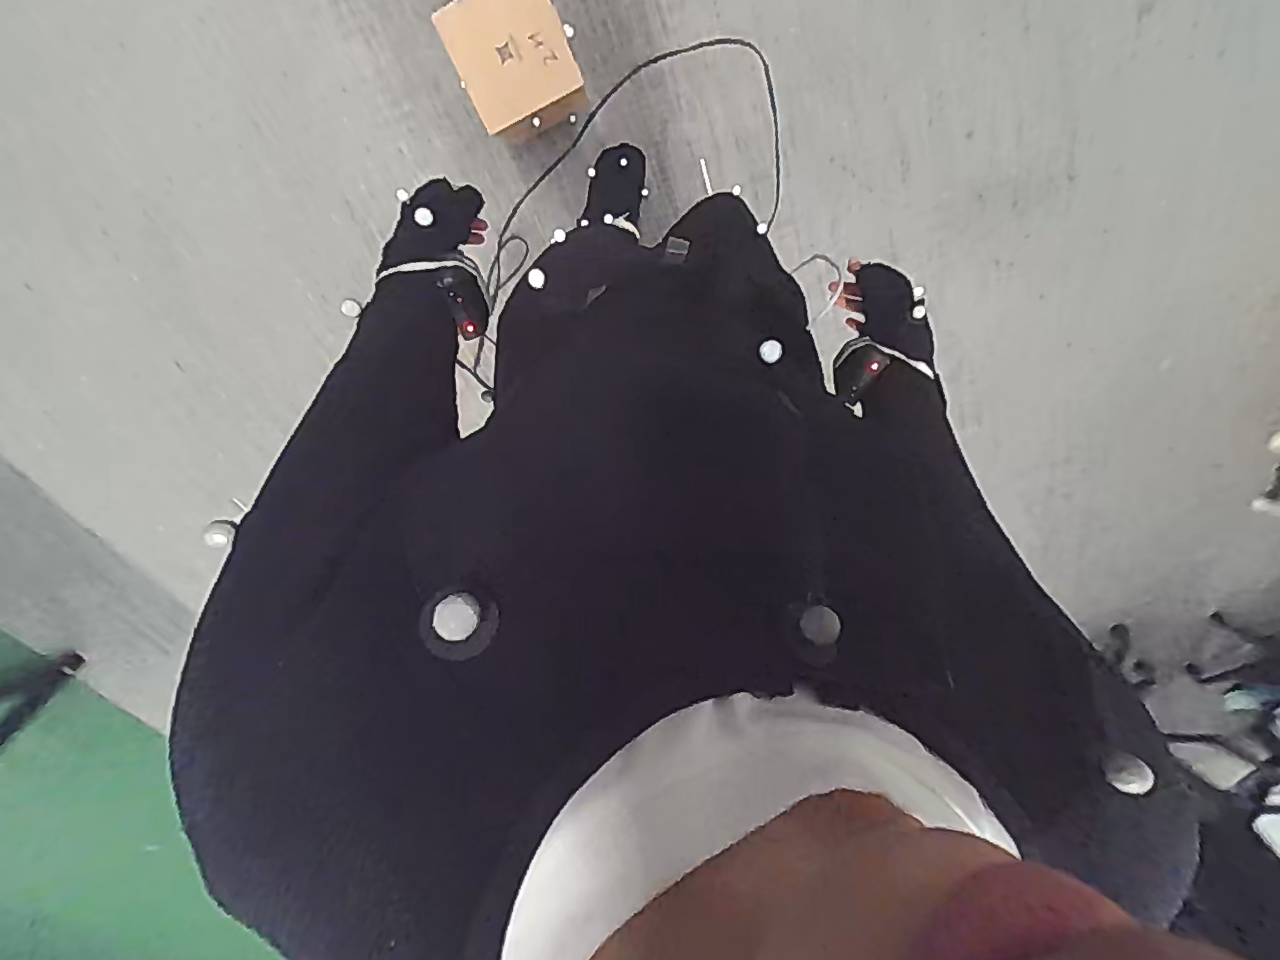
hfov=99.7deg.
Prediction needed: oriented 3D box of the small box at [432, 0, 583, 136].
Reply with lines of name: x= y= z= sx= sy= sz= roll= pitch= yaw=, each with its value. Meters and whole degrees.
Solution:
small box: x=-0.204 y=-0.690 z=0.891 sx=0.179 sy=0.176 sz=0.168 roll=-22 pitch=122 yaw=8

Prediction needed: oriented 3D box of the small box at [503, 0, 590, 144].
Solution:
small box: x=-0.209 y=-0.770 z=1.035 sx=0.179 sy=0.176 sz=0.168 roll=-22 pitch=121 yaw=9
